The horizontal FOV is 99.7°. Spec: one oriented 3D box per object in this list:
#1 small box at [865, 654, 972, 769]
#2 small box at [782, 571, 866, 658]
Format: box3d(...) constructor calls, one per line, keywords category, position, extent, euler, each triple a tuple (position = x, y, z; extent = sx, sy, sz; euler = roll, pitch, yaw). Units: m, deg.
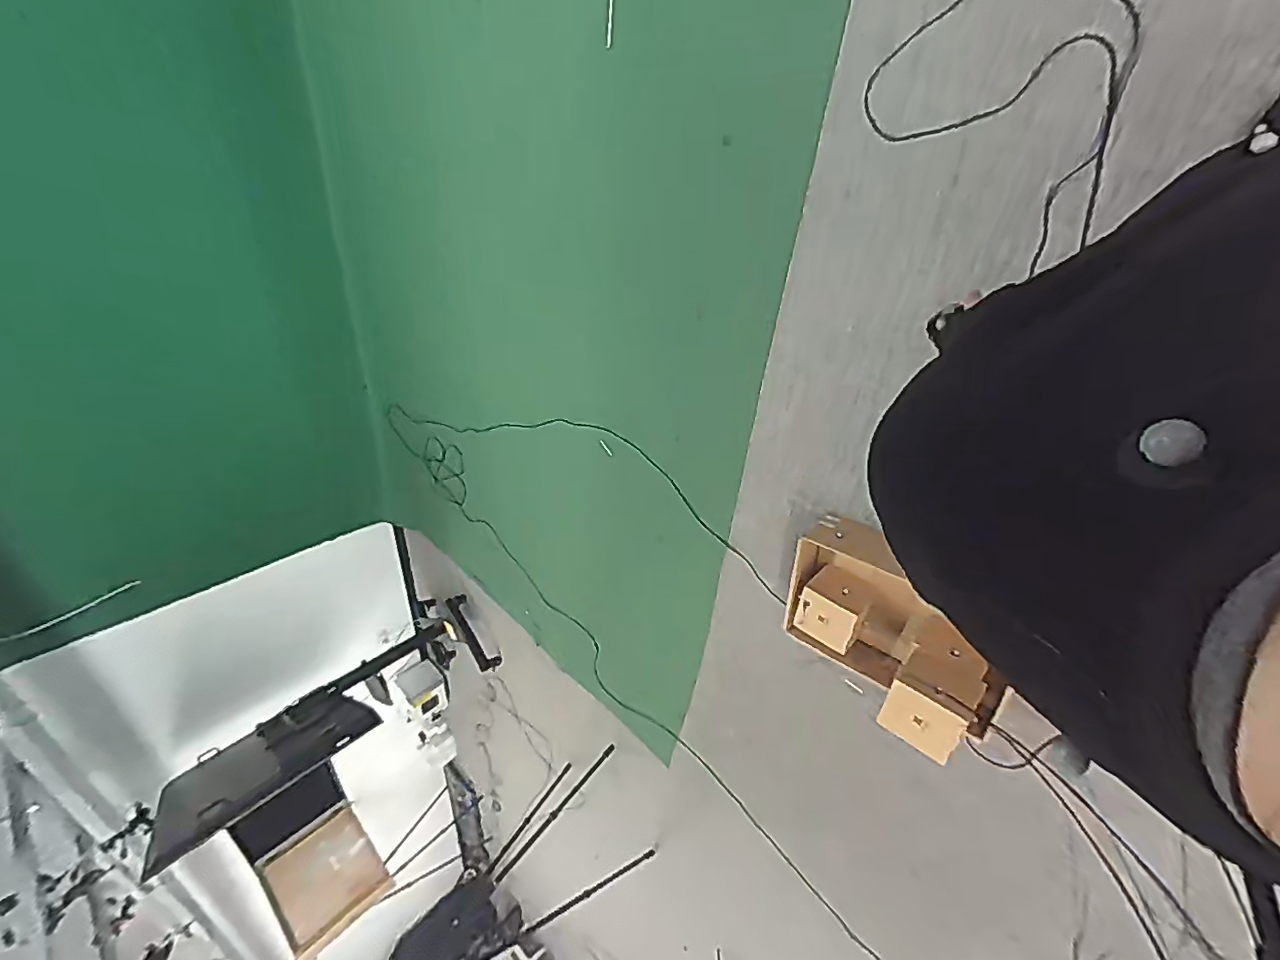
box3d(category="small box", position=(0.715, 0.581, 1.384), extent=(0.179, 0.176, 0.168), euler=(29, 125, 34))
box3d(category="small box", position=(0.577, 0.410, 1.684), extent=(0.179, 0.176, 0.168), euler=(28, 127, 32))
